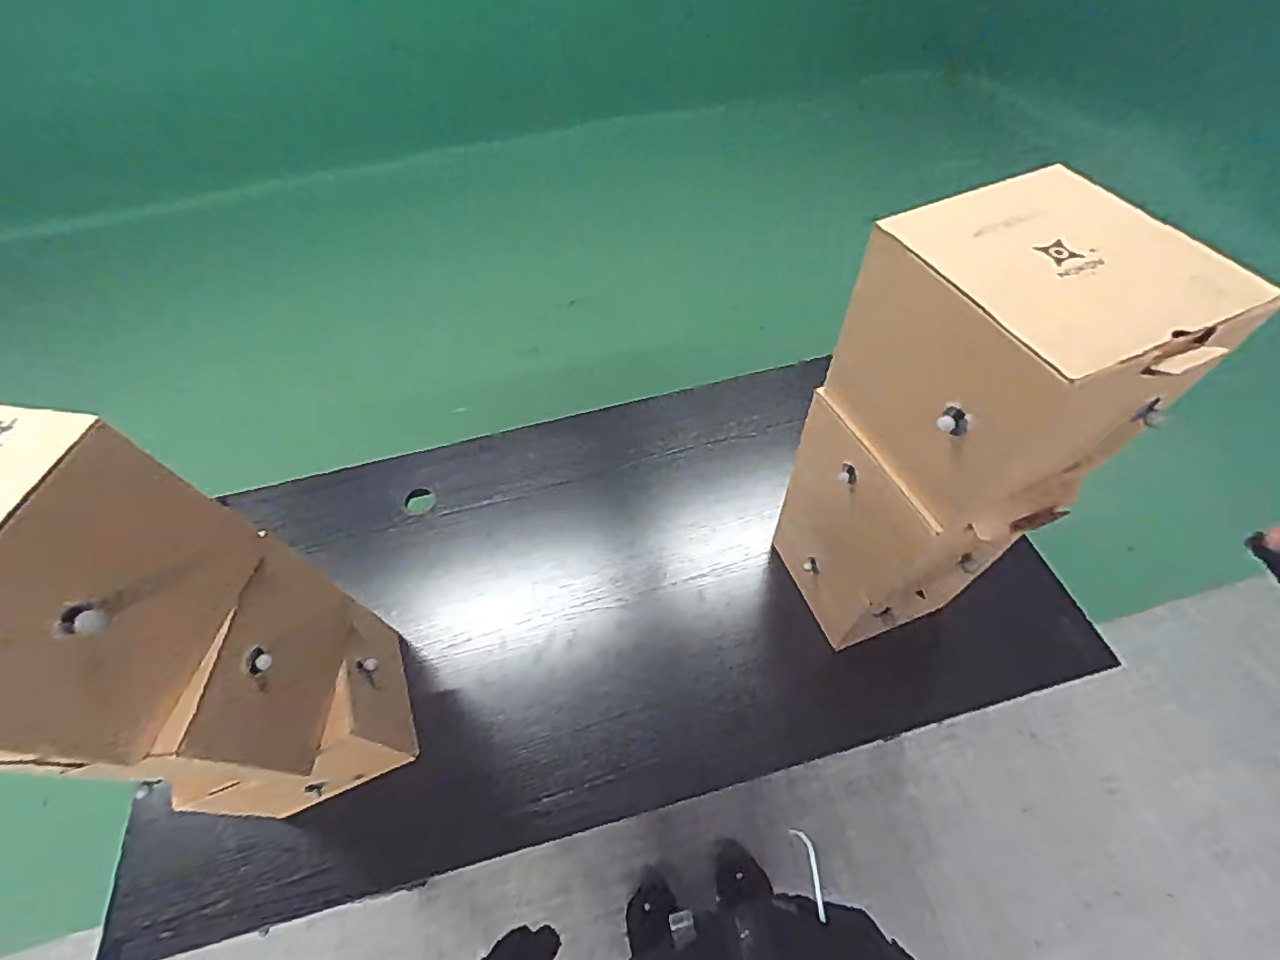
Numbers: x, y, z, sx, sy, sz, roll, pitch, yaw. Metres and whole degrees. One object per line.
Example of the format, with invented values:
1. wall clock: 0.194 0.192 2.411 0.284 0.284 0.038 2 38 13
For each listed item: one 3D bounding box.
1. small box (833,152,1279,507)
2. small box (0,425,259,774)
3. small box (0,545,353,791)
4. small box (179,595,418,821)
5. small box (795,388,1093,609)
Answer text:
1. small box: 0.274 -0.101 0.403 0.168 0.176 0.179 -21 56 -10
2. small box: -0.404 0.081 0.353 0.168 0.176 0.179 6 58 7
3. small box: -0.391 0.176 0.487 0.168 0.176 0.179 -3 56 1
4. small box: -0.378 0.266 0.623 0.168 0.176 0.179 -21 59 -10
5. small box: 0.279 0.001 0.551 0.168 0.176 0.179 -22 57 -9
